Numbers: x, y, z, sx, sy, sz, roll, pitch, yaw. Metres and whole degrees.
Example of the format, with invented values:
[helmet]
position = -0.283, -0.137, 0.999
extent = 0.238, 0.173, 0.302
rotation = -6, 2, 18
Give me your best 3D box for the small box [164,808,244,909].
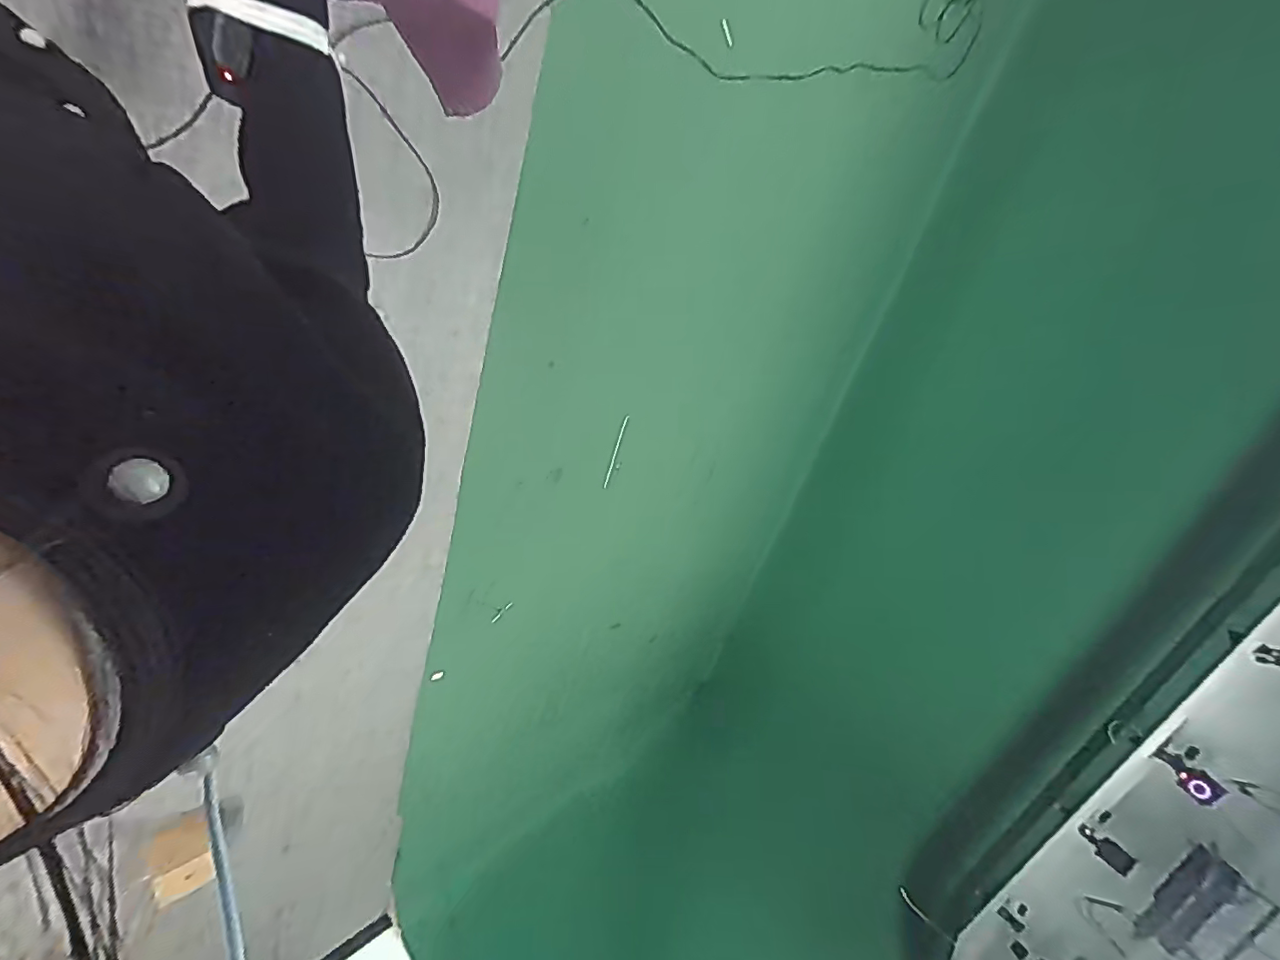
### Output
[small box]
position = -1.445, 1.244, 1.789
extent = 0.179, 0.176, 0.168
rotation = -15, 128, -46
